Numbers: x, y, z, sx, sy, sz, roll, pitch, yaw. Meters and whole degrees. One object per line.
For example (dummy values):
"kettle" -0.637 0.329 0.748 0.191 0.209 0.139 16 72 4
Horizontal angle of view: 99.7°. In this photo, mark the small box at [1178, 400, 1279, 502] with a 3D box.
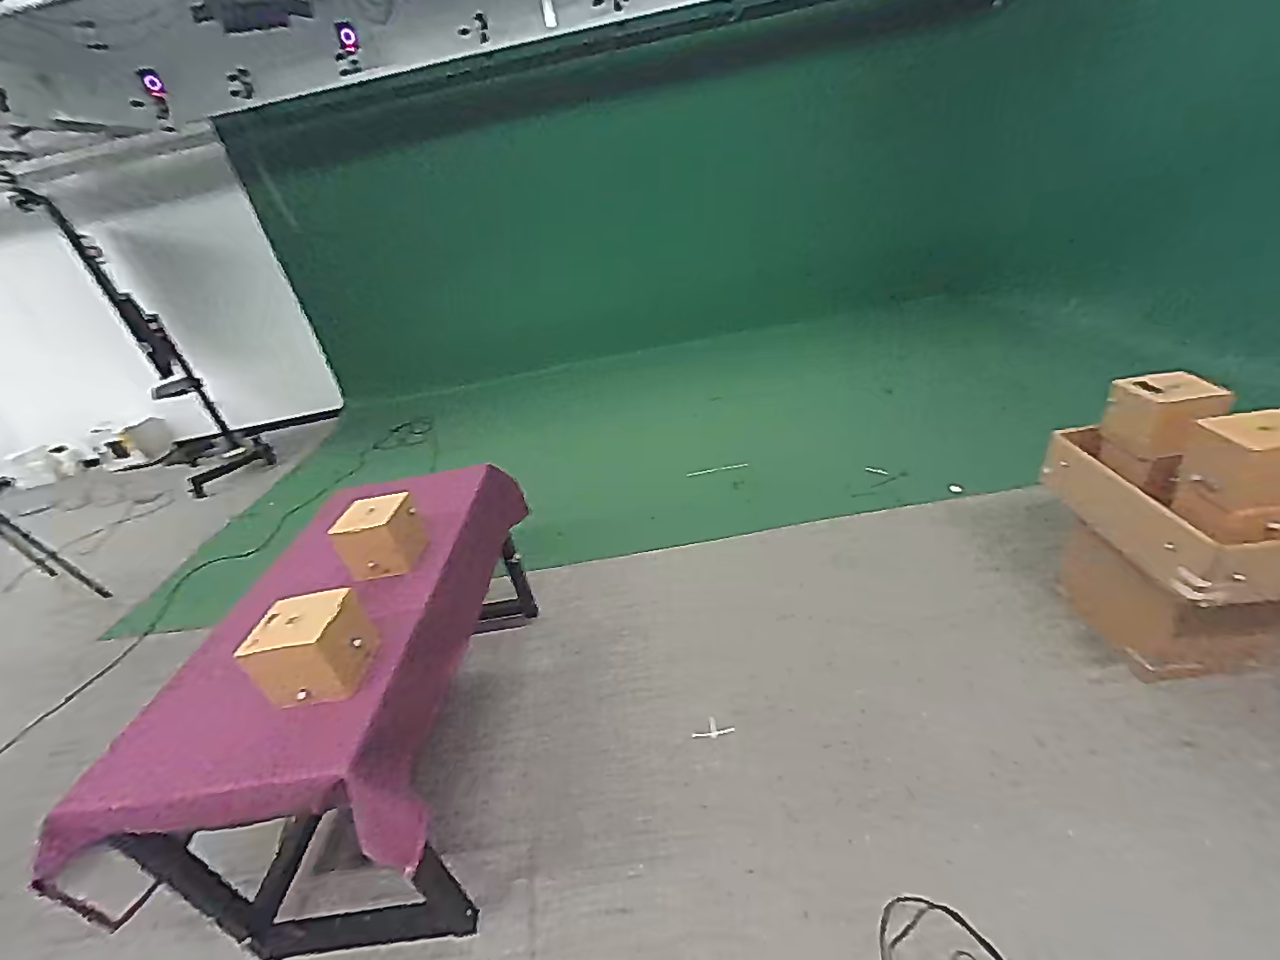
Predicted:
"small box" 1.425 -0.066 1.260 0.179 0.176 0.168 -9 29 10

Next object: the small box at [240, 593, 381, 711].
"small box" -0.704 0.376 1.182 0.179 0.176 0.168 -11 29 4

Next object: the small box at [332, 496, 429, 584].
"small box" -0.731 0.172 1.550 0.168 0.176 0.179 -11 29 6
